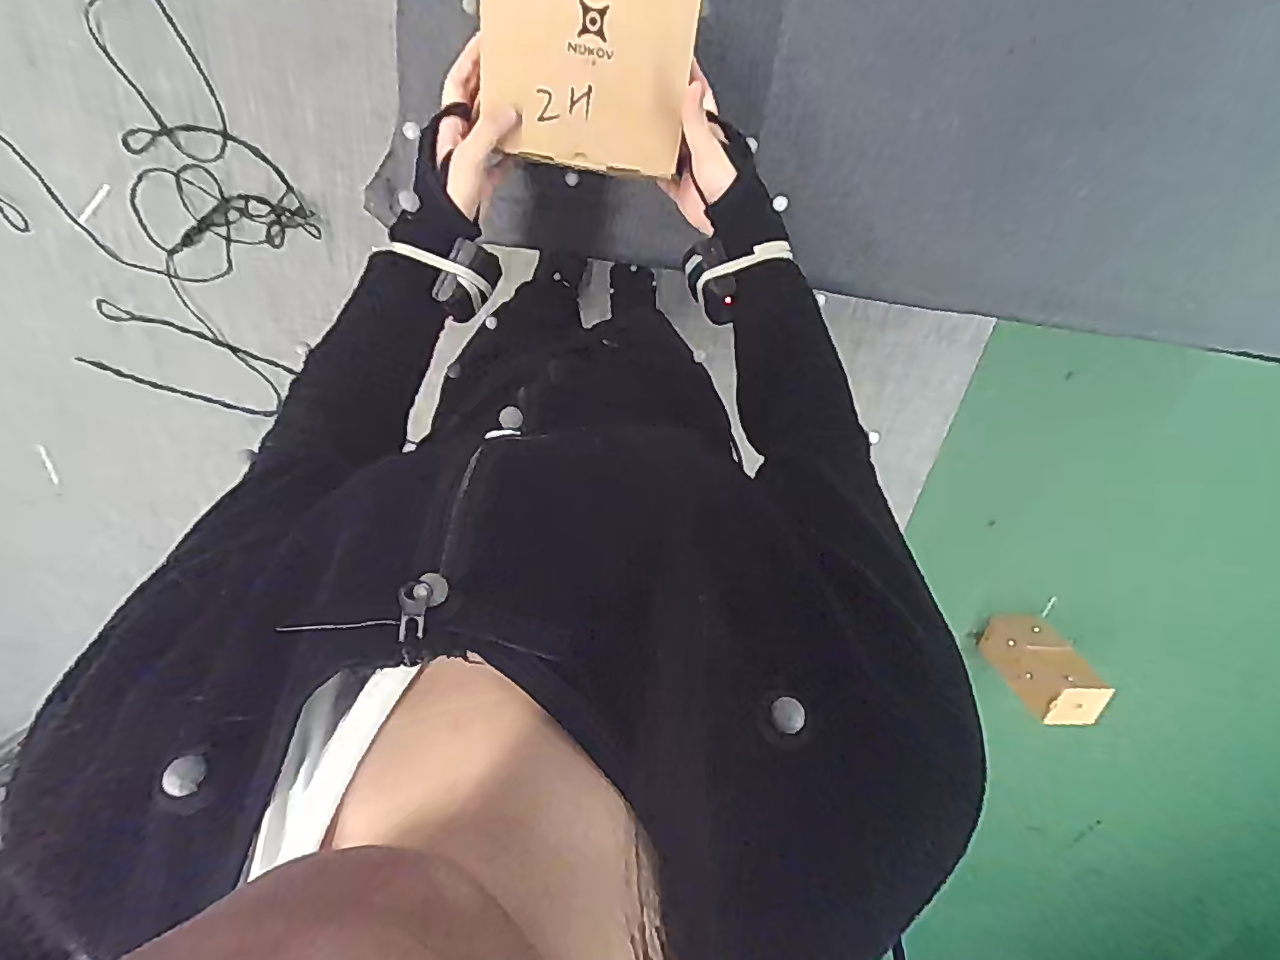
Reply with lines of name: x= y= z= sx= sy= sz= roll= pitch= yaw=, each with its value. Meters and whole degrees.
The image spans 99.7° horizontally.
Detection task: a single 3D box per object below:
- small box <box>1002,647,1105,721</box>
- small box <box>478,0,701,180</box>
small box: x=1.357 y=0.672 z=1.786 sx=0.179 sy=0.176 sz=0.168 roll=2 pitch=118 yaw=-5
small box: x=-0.051 y=-0.380 z=0.481 sx=0.168 sy=0.176 sz=0.179 roll=3 pitch=117 yaw=-12
